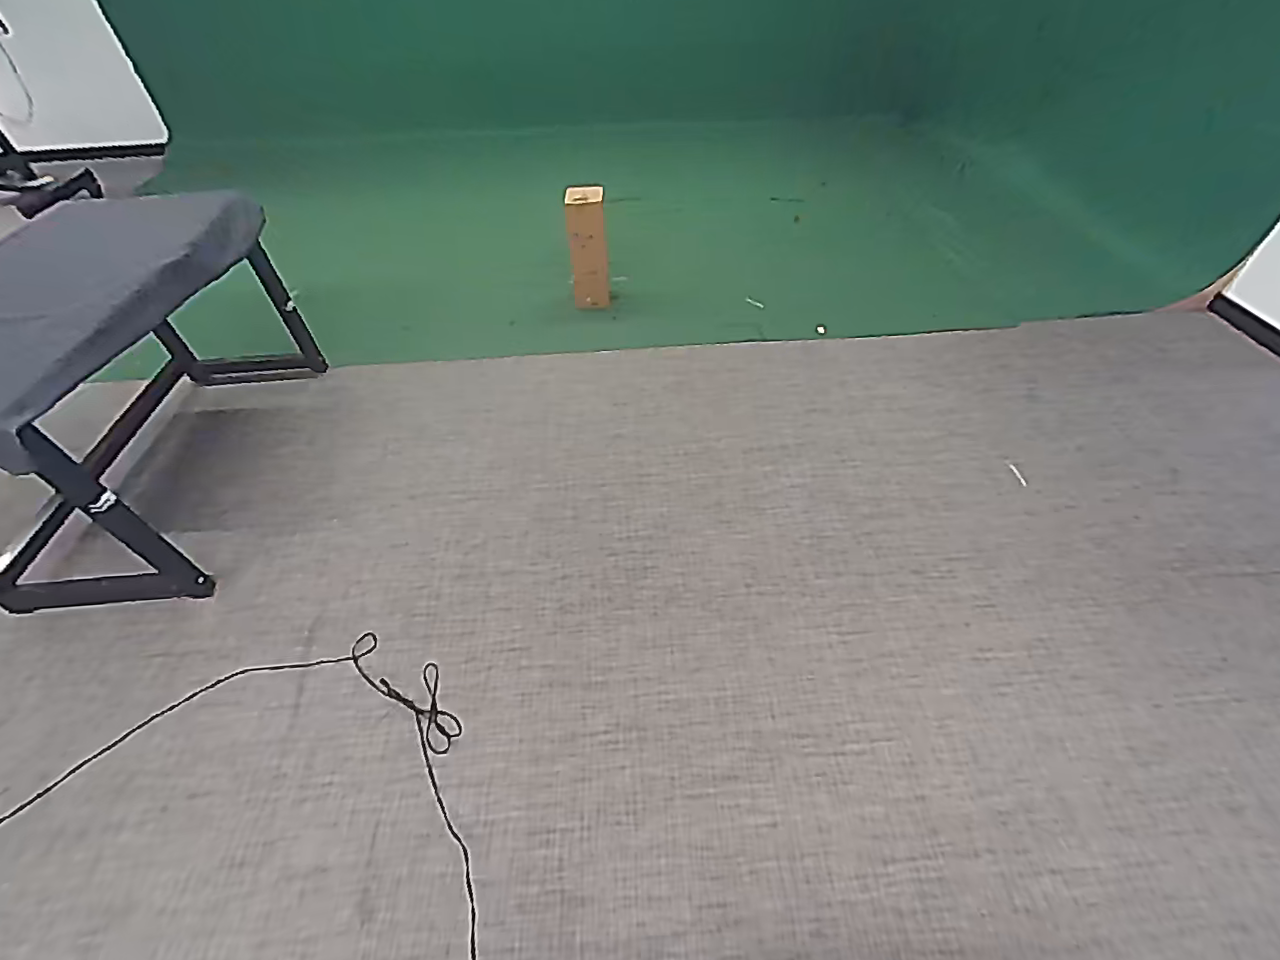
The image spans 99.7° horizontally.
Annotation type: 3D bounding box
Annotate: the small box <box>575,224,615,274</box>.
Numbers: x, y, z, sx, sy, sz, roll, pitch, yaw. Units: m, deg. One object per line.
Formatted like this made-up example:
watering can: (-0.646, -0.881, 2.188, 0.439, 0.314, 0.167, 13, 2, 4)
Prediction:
small box: (-0.211, -1.099, 2.572, 0.168, 0.176, 0.179, -2, 47, 2)

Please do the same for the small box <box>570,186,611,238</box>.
small box: (-0.221, -1.213, 2.454, 0.168, 0.176, 0.179, -2, 47, 1)

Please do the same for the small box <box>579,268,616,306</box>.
small box: (-0.208, -0.987, 2.692, 0.168, 0.176, 0.179, -3, 50, 1)
